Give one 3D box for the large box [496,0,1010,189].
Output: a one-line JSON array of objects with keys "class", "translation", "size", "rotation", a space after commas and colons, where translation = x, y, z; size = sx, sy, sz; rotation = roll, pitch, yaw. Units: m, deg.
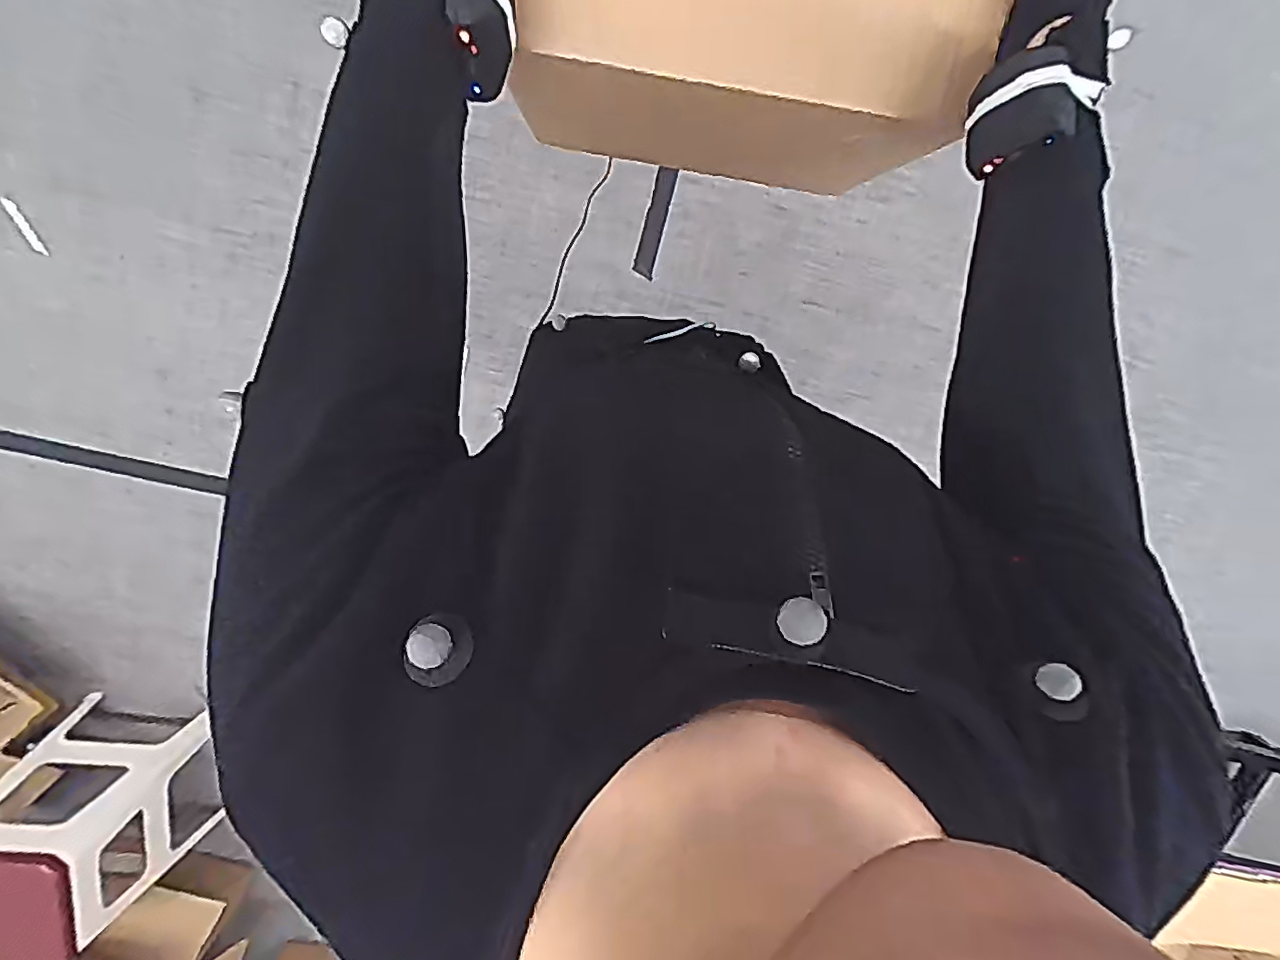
[{"class": "large box", "translation": [0.096, -0.508, 0.526], "size": [0.408, 0.320, 0.320], "rotation": [8, 110, -5]}]
